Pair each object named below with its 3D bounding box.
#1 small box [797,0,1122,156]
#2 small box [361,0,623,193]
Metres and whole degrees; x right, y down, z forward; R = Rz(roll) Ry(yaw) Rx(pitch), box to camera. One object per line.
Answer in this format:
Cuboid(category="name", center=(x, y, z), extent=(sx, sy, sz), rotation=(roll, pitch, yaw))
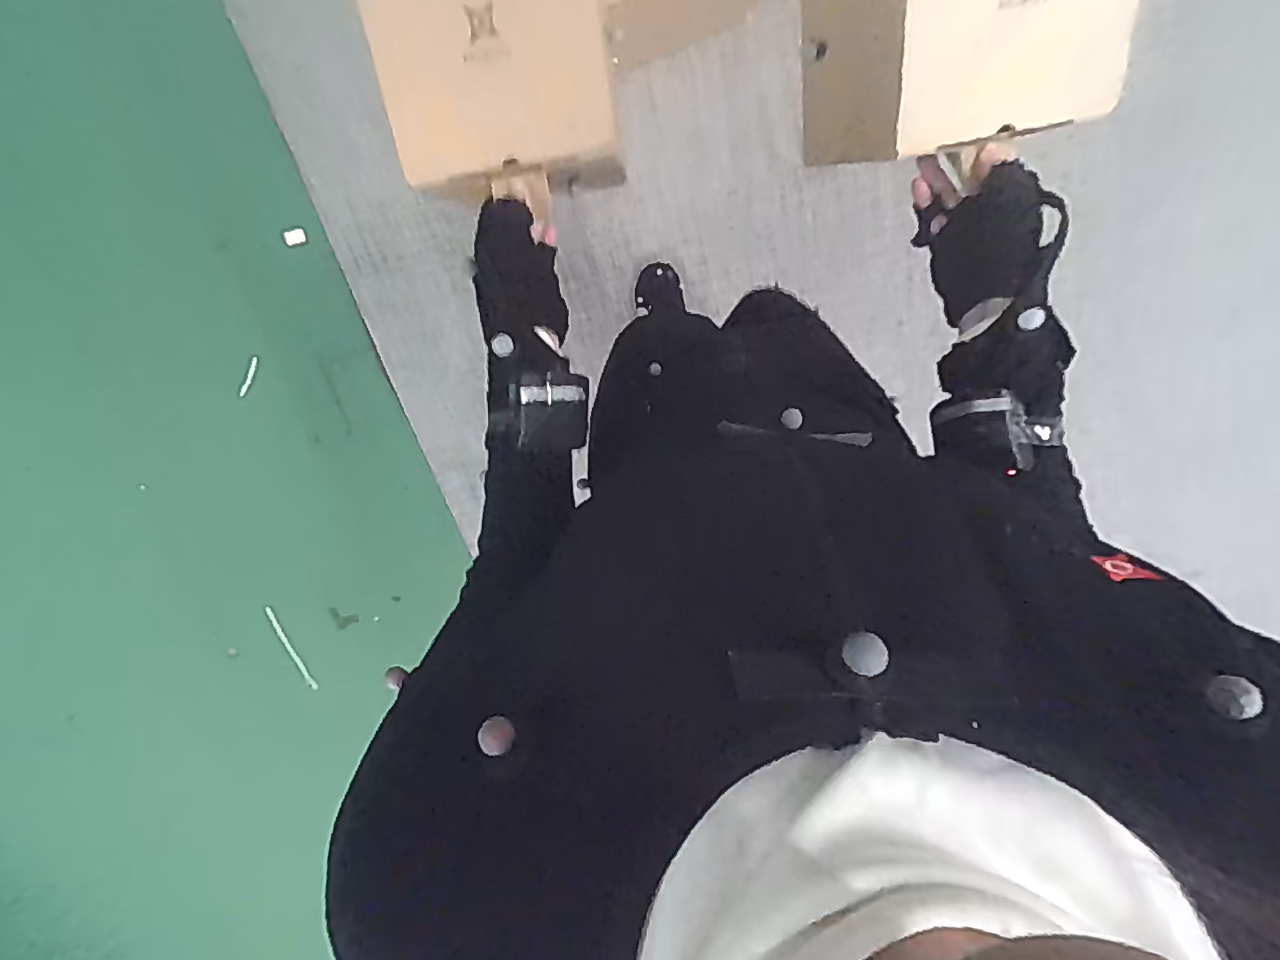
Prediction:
Cuboid(category="small box", center=(0.232, -0.366, 0.422), extent=(0.168, 0.176, 0.179), rotation=(-12, 121, -2))
Cuboid(category="small box", center=(-0.109, -0.354, 0.456), extent=(0.168, 0.176, 0.179), rotation=(-8, 110, 4))
